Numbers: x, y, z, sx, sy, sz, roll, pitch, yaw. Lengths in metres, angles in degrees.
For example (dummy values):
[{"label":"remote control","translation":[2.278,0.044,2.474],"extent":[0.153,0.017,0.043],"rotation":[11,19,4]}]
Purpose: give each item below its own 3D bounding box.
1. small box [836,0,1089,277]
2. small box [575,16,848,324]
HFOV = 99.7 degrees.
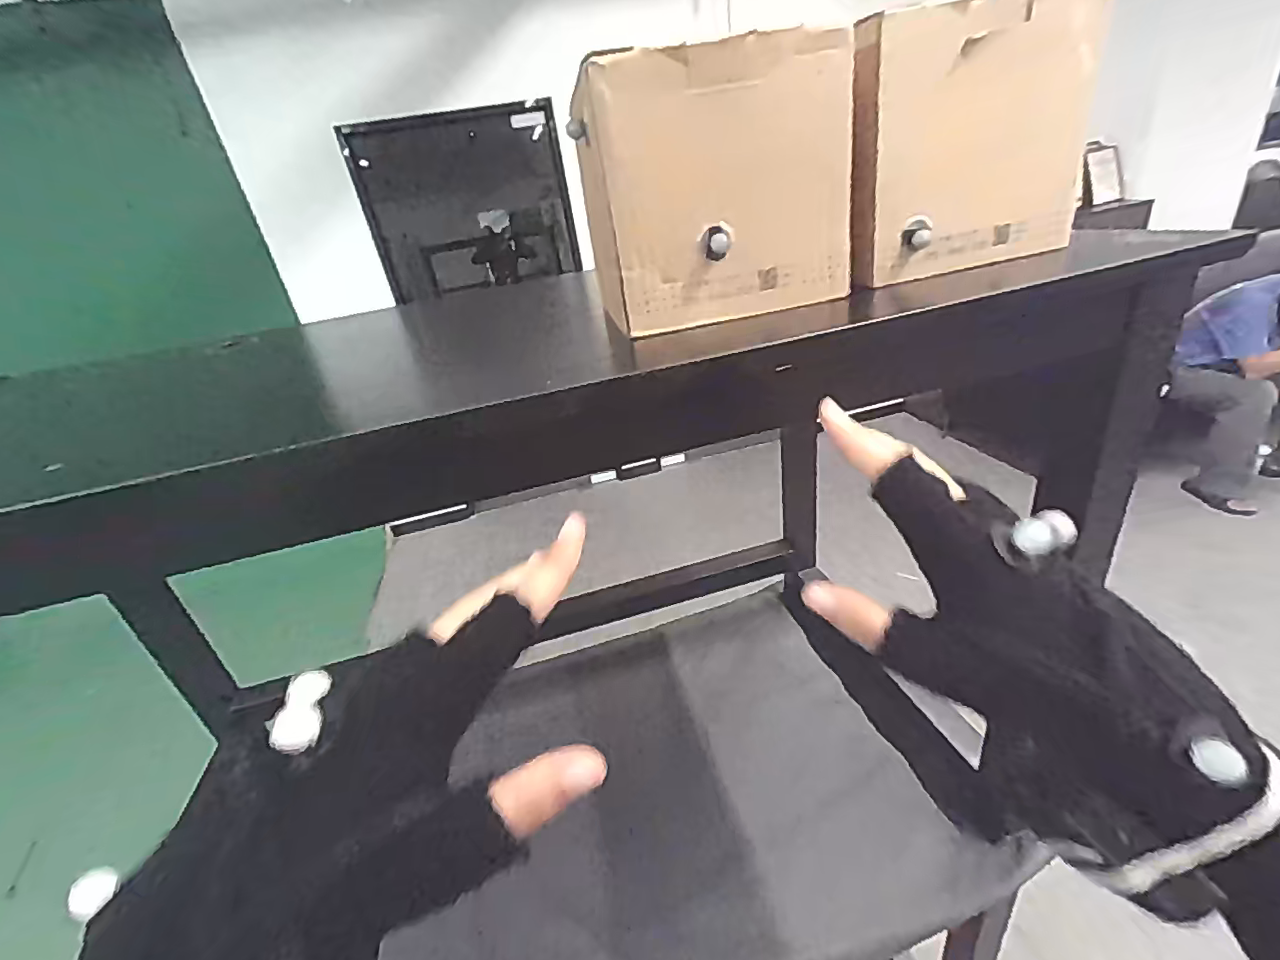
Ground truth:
[{"label":"small box","translation":[0.221,-0.274,0.454],"extent":[0.168,0.176,0.179],"rotation":[-13,26,-5]},{"label":"small box","translation":[0.045,-0.230,0.433],"extent":[0.168,0.176,0.179],"rotation":[-12,27,-5]}]
